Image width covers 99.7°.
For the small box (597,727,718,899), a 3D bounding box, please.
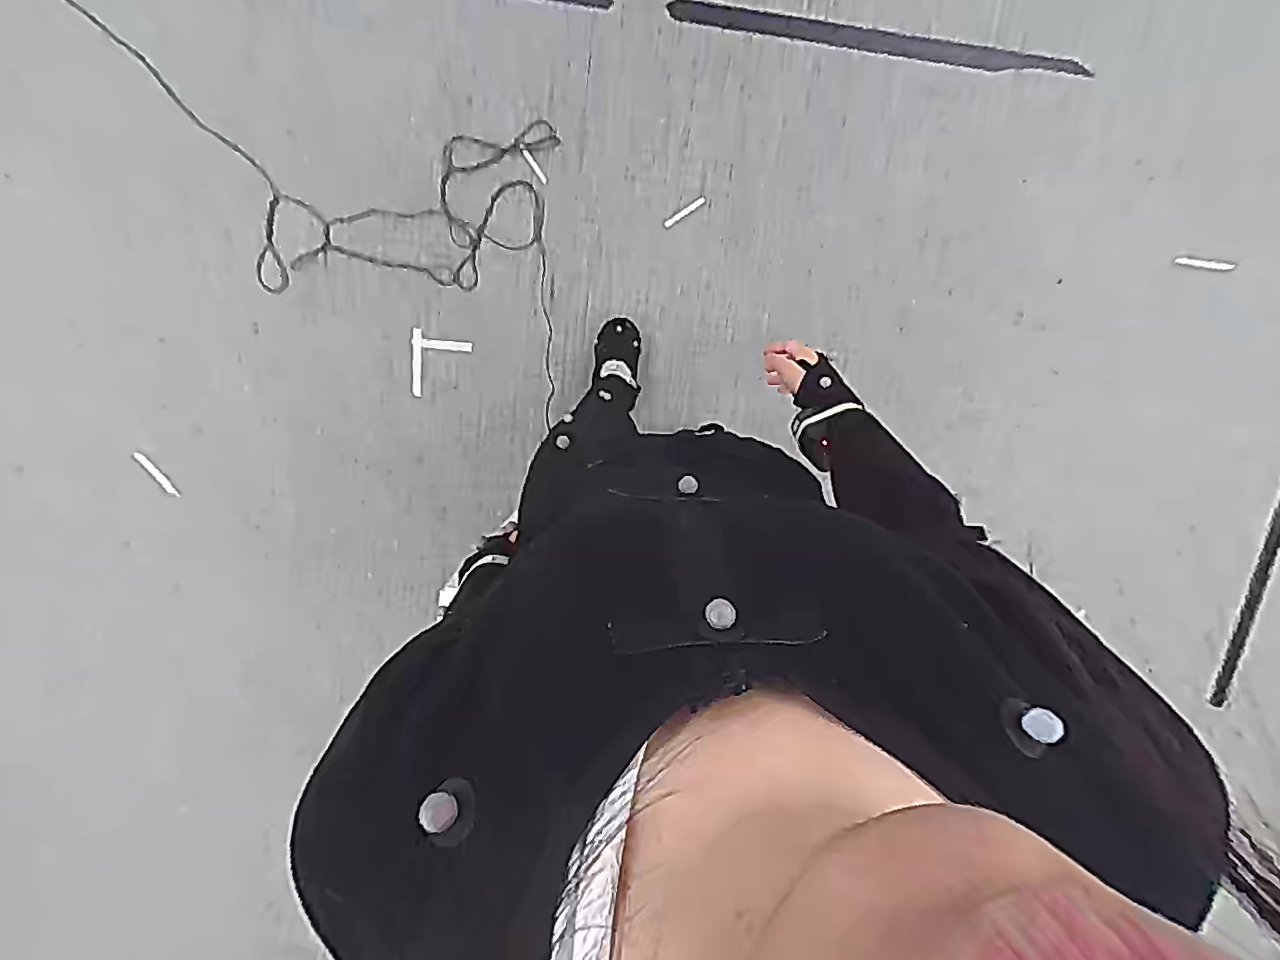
[{"bbox_3d":[0.025,0.546,0.909,0.168,0.176,0.179,9,98,-1],"label":"small box"}]
